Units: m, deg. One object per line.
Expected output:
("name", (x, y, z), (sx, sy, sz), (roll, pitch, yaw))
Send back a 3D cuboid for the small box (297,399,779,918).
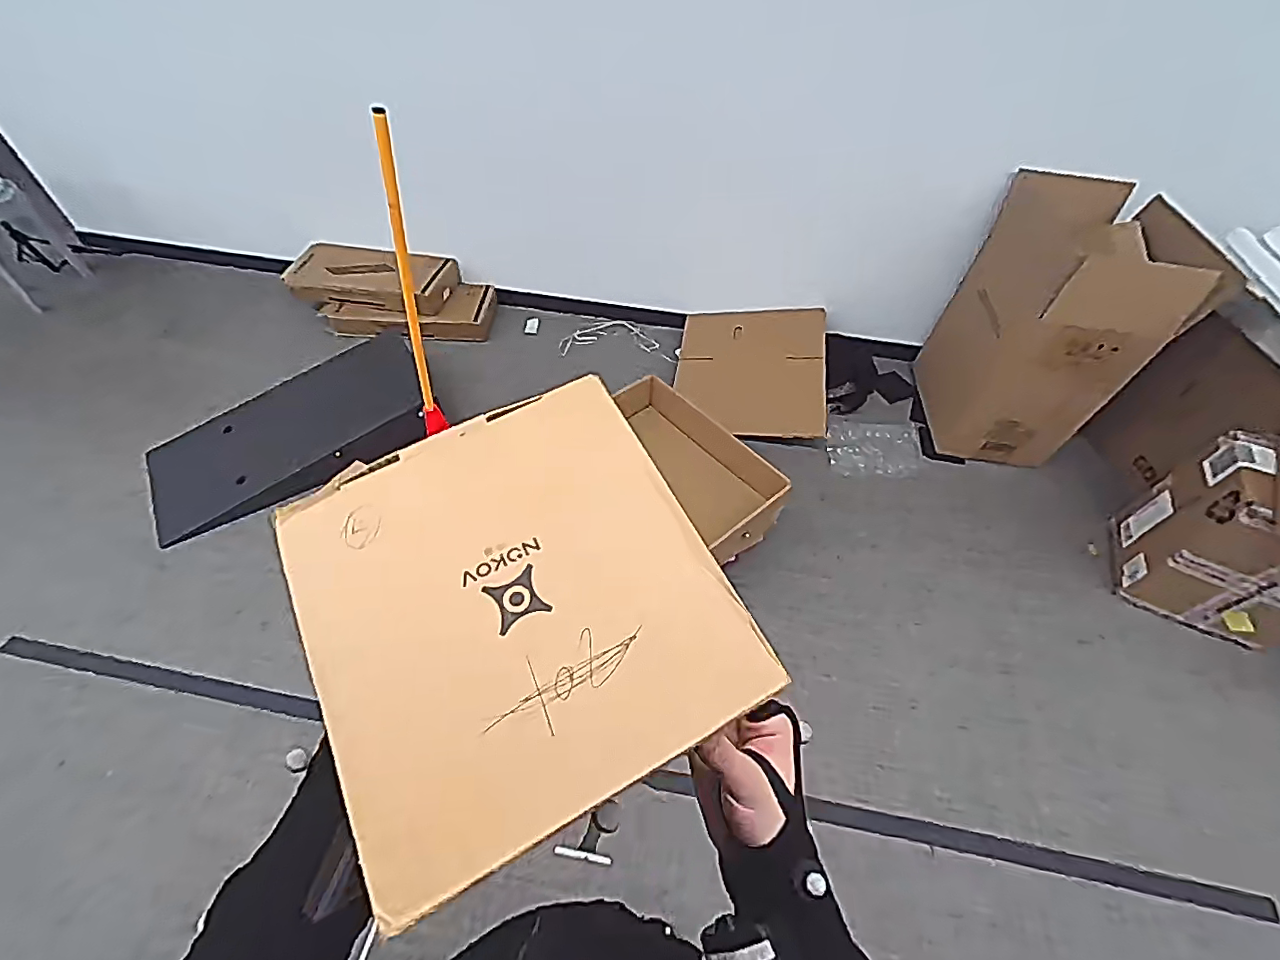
("small box", (-0.053, 0.092, 0.312), (0.168, 0.176, 0.179), (-26, 66, -13))
